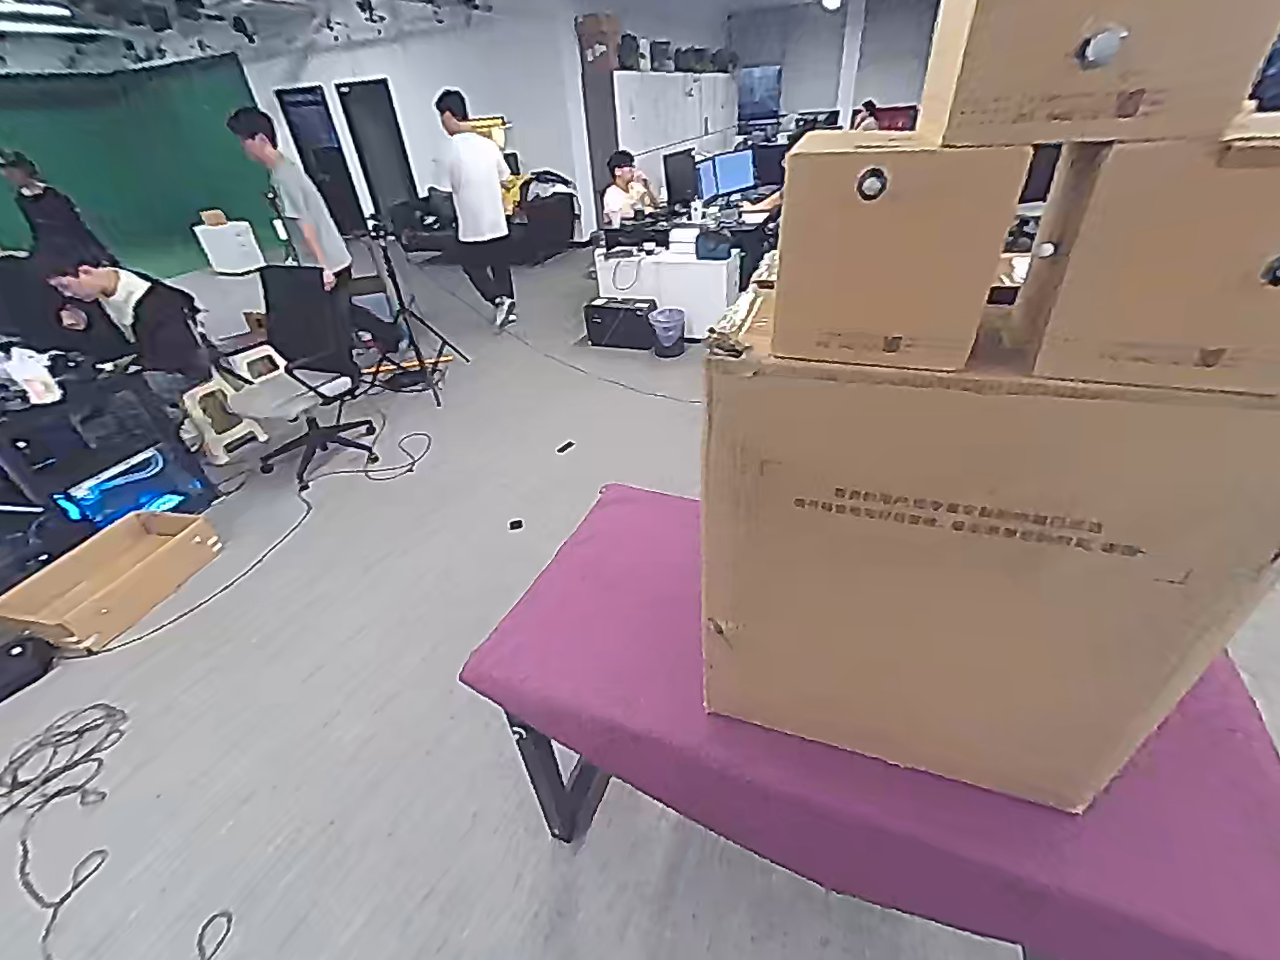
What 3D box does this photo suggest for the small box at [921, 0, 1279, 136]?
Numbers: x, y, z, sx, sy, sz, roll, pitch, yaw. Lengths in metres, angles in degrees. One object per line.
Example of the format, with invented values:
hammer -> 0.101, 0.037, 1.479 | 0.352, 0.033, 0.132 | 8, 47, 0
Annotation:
small box -> 0.310, -0.345, 0.377 | 0.168, 0.176, 0.179 | 7, 37, 16

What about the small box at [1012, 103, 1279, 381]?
small box -> 0.421, -0.190, 0.429 | 0.168, 0.176, 0.179 | 11, 37, 22
